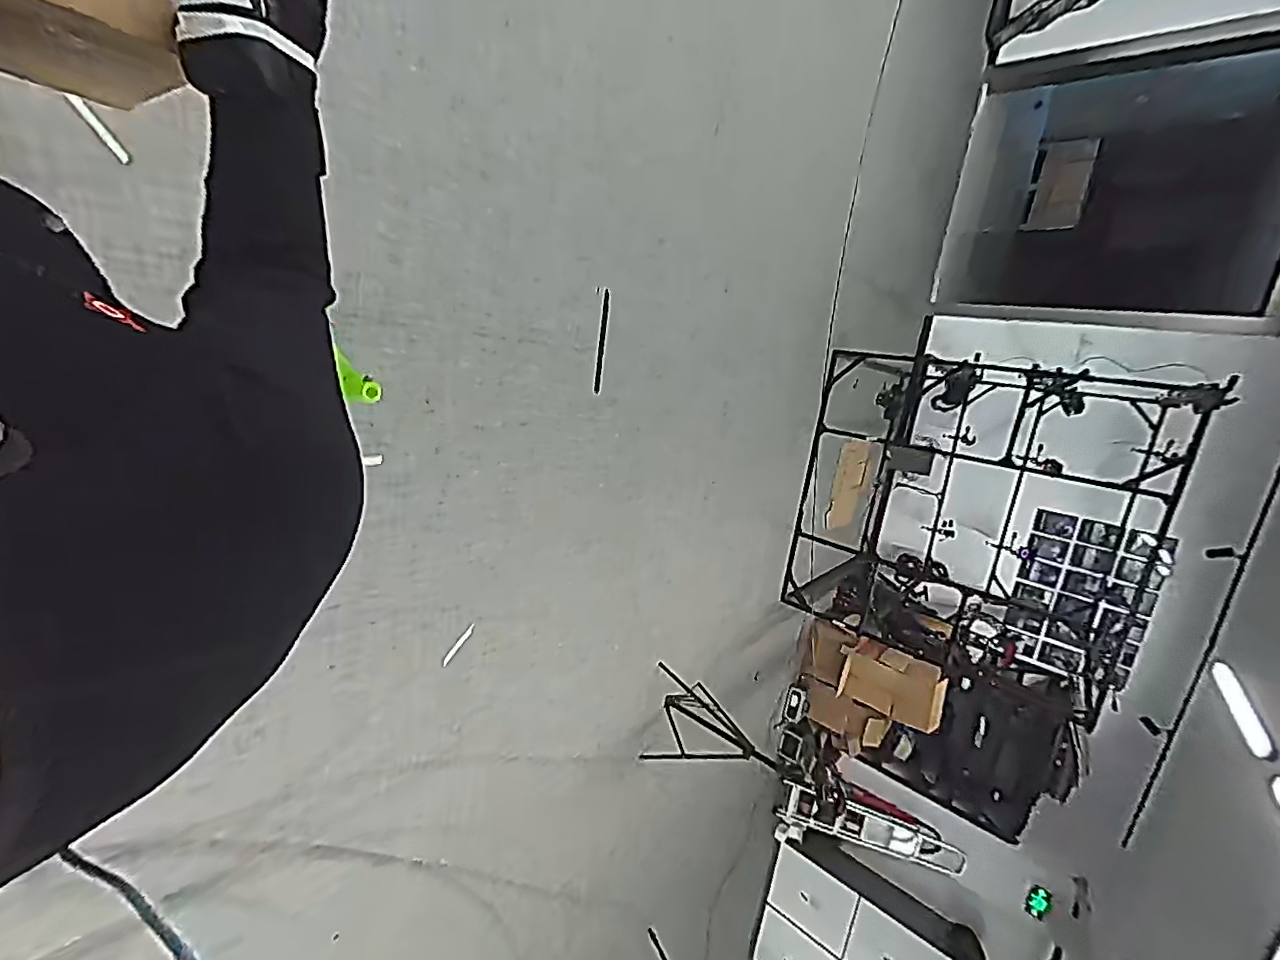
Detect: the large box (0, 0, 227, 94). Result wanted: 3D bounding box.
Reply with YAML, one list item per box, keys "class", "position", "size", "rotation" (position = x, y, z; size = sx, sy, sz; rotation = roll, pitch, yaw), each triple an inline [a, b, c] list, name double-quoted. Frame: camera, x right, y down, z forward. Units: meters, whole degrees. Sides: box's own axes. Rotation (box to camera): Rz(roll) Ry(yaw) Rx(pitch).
- class: "large box"
  position: [-0.508, -0.466, 0.272]
  size: [0.408, 0.320, 0.320]
  rotation: [-10, 116, -52]
